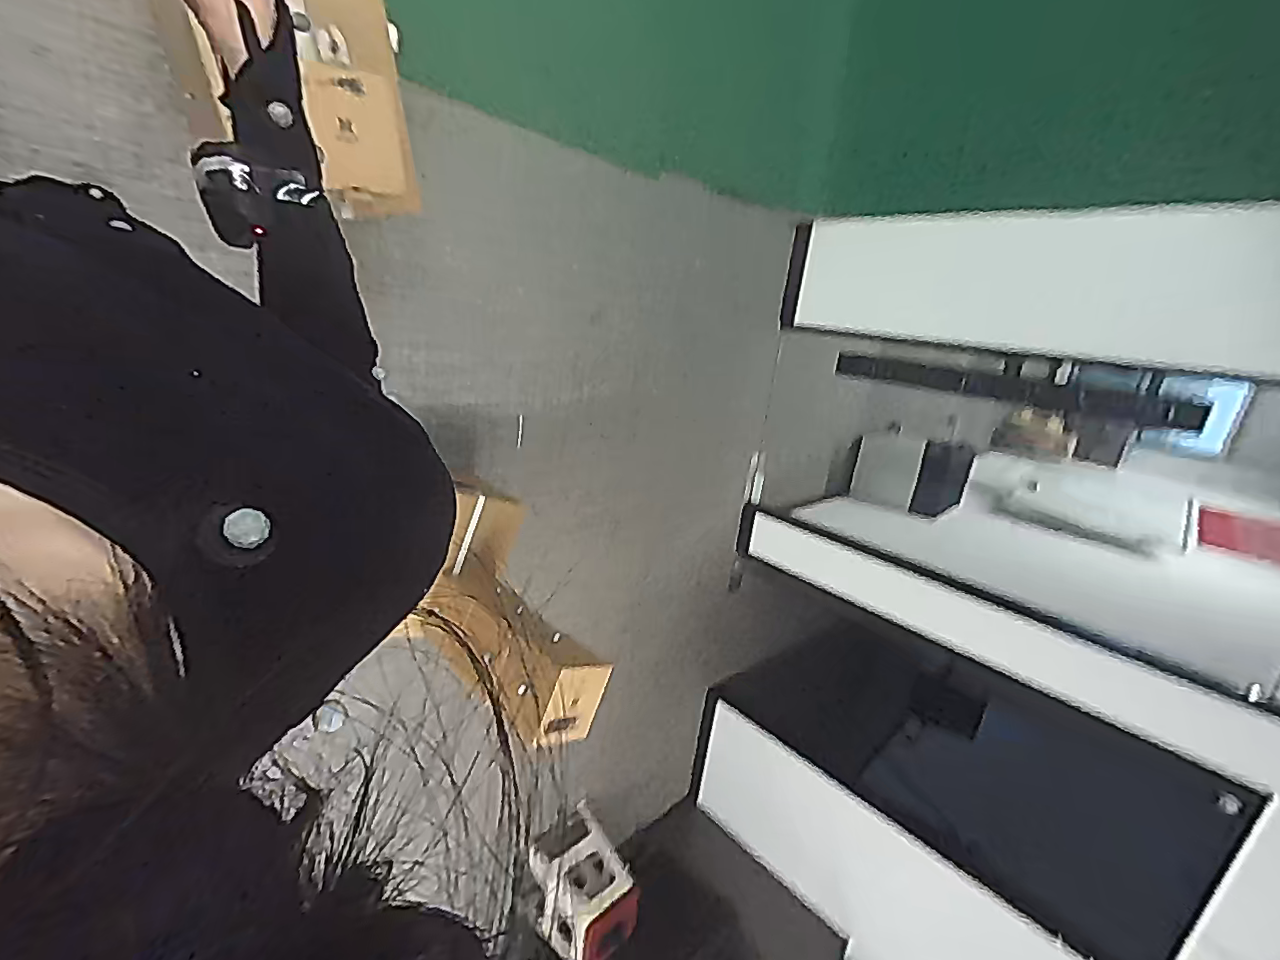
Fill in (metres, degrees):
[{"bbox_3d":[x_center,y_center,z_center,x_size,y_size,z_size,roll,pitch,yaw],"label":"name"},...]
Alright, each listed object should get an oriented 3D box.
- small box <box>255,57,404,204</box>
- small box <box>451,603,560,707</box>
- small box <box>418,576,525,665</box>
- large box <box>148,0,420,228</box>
[{"bbox_3d":[-0.521,-0.571,0.911,0.168,0.176,0.179,-19,120,-39],"label":"small box"},{"bbox_3d":[-0.330,0.418,1.303,0.168,0.176,0.179,21,91,-50],"label":"small box"},{"bbox_3d":[-0.440,0.362,1.407,0.179,0.176,0.168,19,93,-50],"label":"small box"},{"bbox_3d":[-0.679,-0.724,1.051,0.320,0.320,0.408,-24,122,-38],"label":"large box"}]
